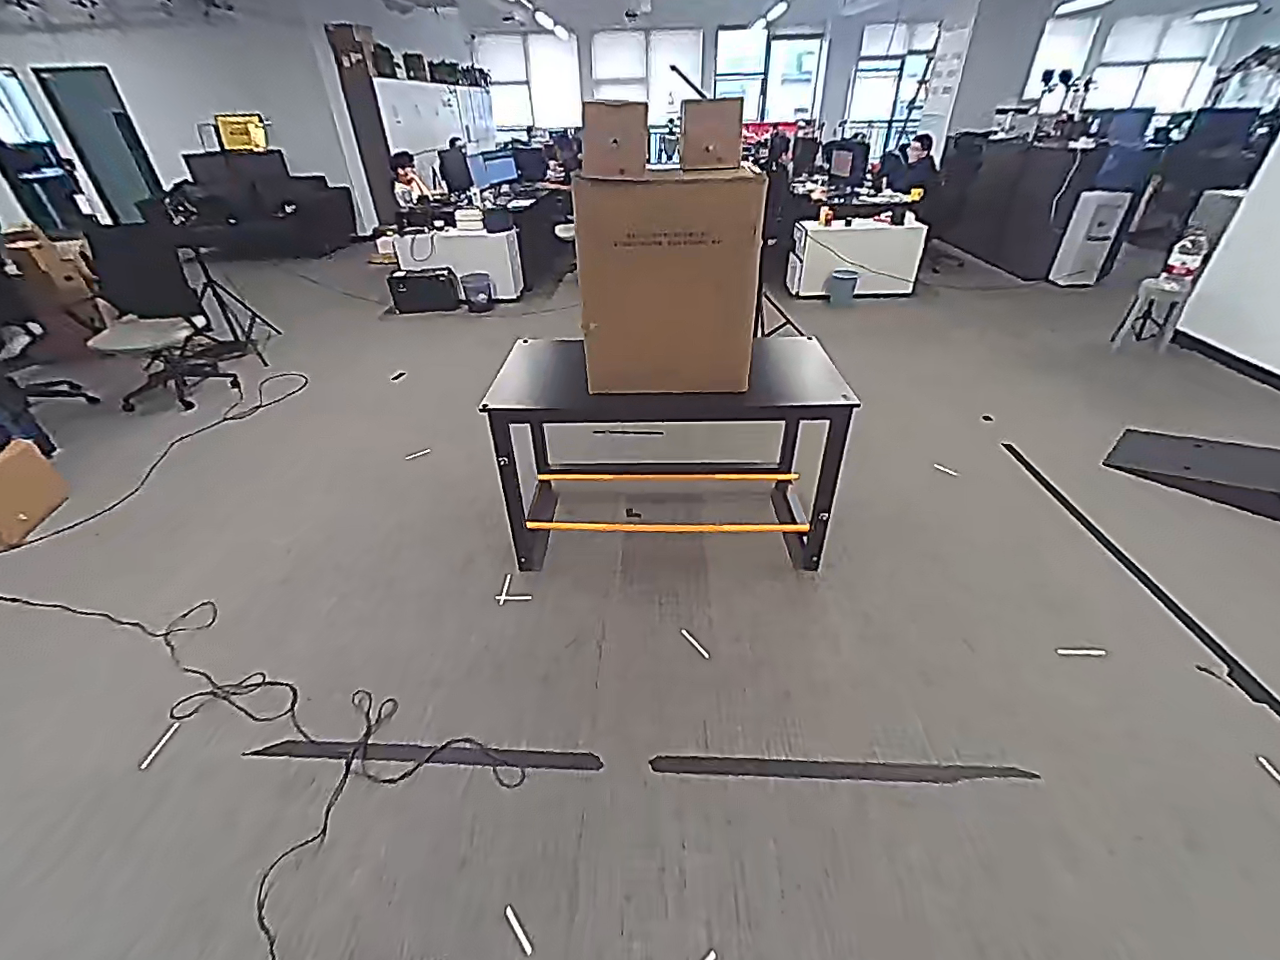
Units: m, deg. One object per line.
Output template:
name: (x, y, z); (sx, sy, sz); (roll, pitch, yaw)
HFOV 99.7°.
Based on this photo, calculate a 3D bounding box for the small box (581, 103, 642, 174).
small box: (-0.079, -1.001, 1.585); (0.168, 0.176, 0.179); (-1, 35, 1)

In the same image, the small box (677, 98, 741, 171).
small box: (0.194, -1.000, 1.566); (0.168, 0.176, 0.179); (-3, 34, 1)
